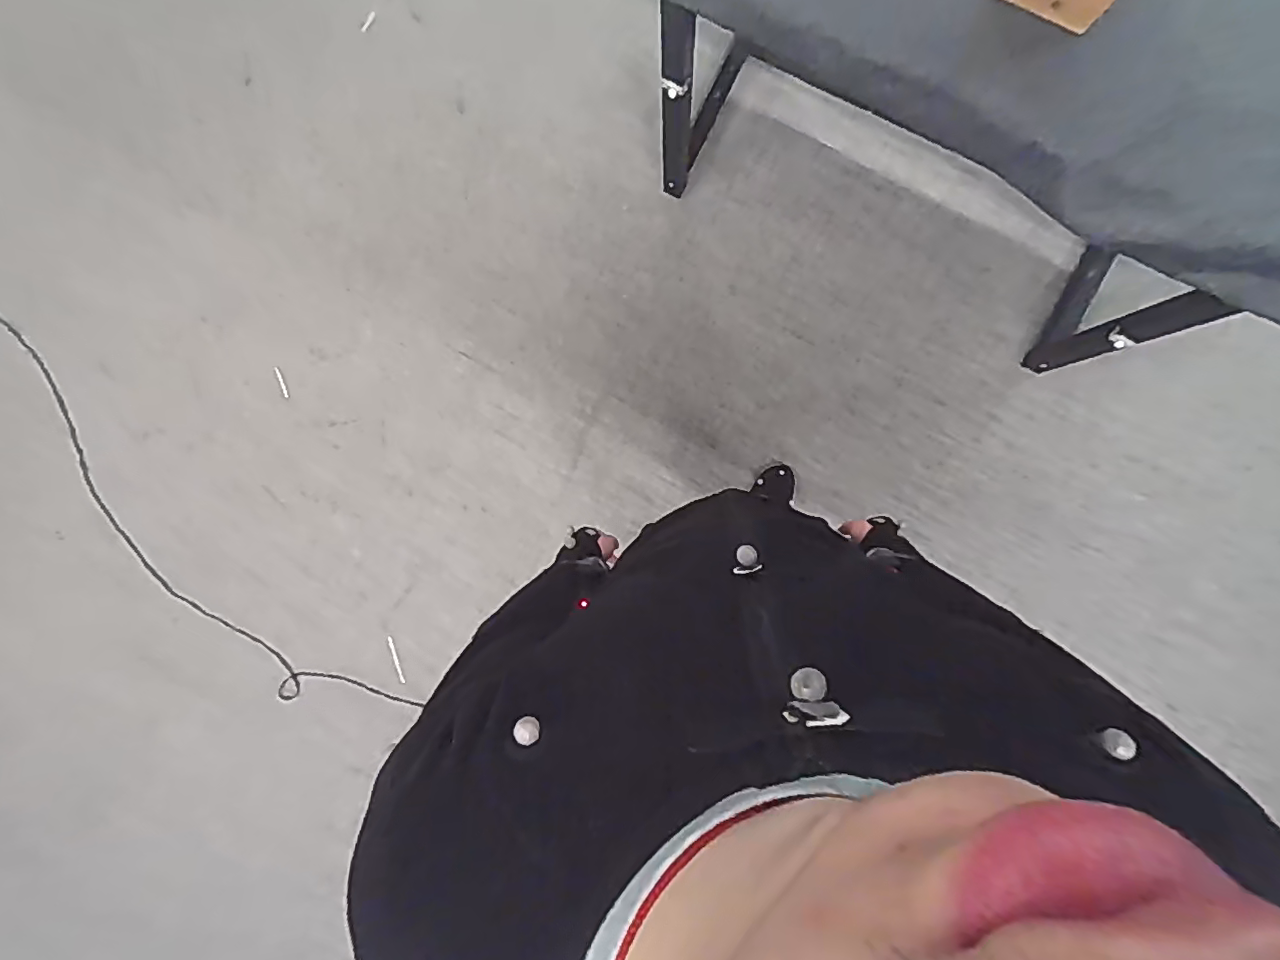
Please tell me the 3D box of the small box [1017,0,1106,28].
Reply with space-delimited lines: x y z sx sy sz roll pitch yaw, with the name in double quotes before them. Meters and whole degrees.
"small box" 0.620 -0.781 0.734 0.168 0.176 0.179 27 90 1
